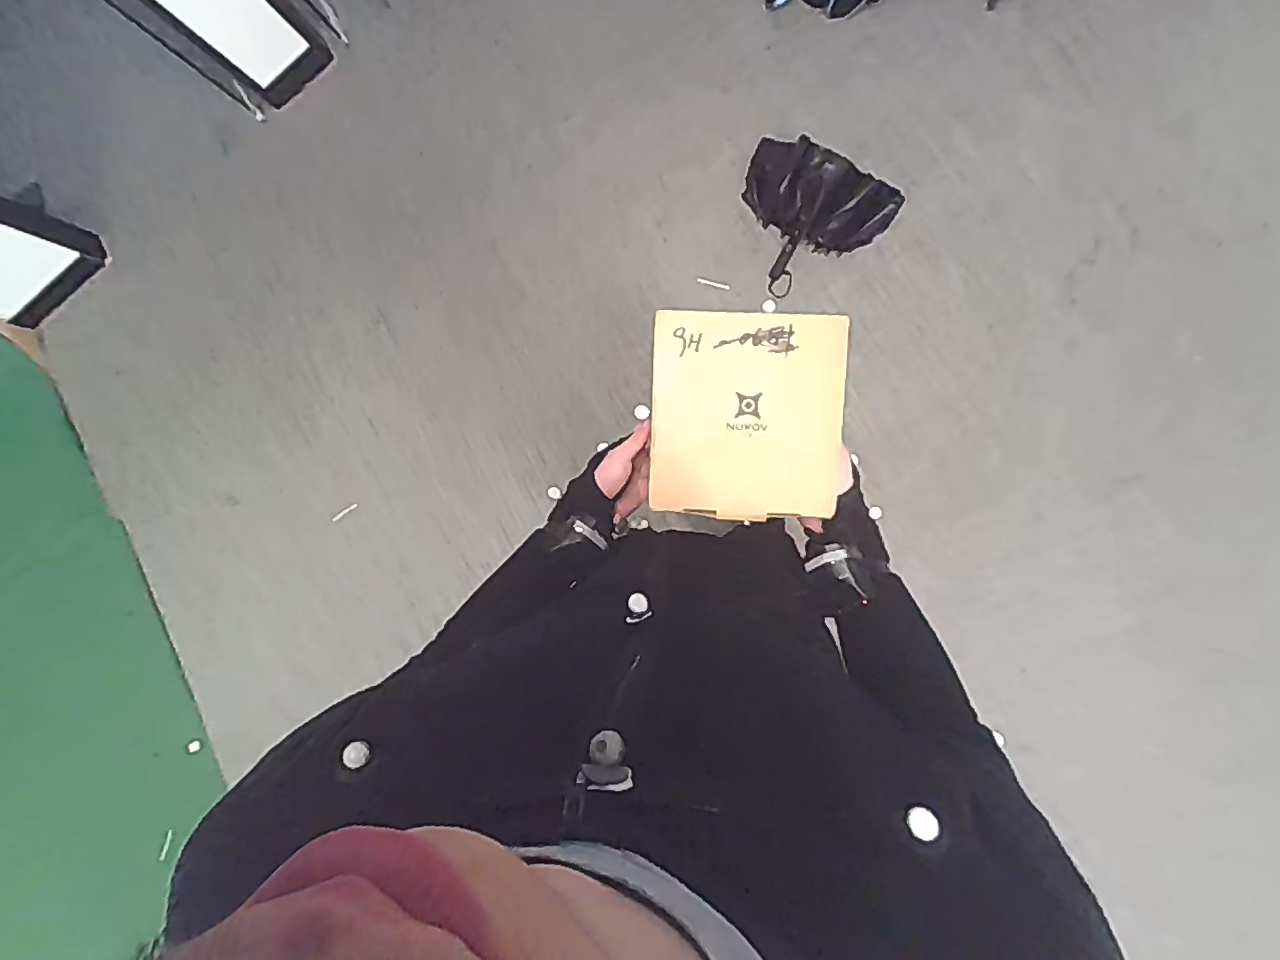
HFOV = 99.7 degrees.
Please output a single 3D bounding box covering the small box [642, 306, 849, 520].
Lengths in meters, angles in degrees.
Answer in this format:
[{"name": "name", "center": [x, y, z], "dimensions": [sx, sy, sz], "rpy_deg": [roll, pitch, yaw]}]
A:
[{"name": "small box", "center": [0.089, -0.065, 0.538], "dimensions": [0.168, 0.176, 0.179], "rpy_deg": [2, 97, 0]}]
